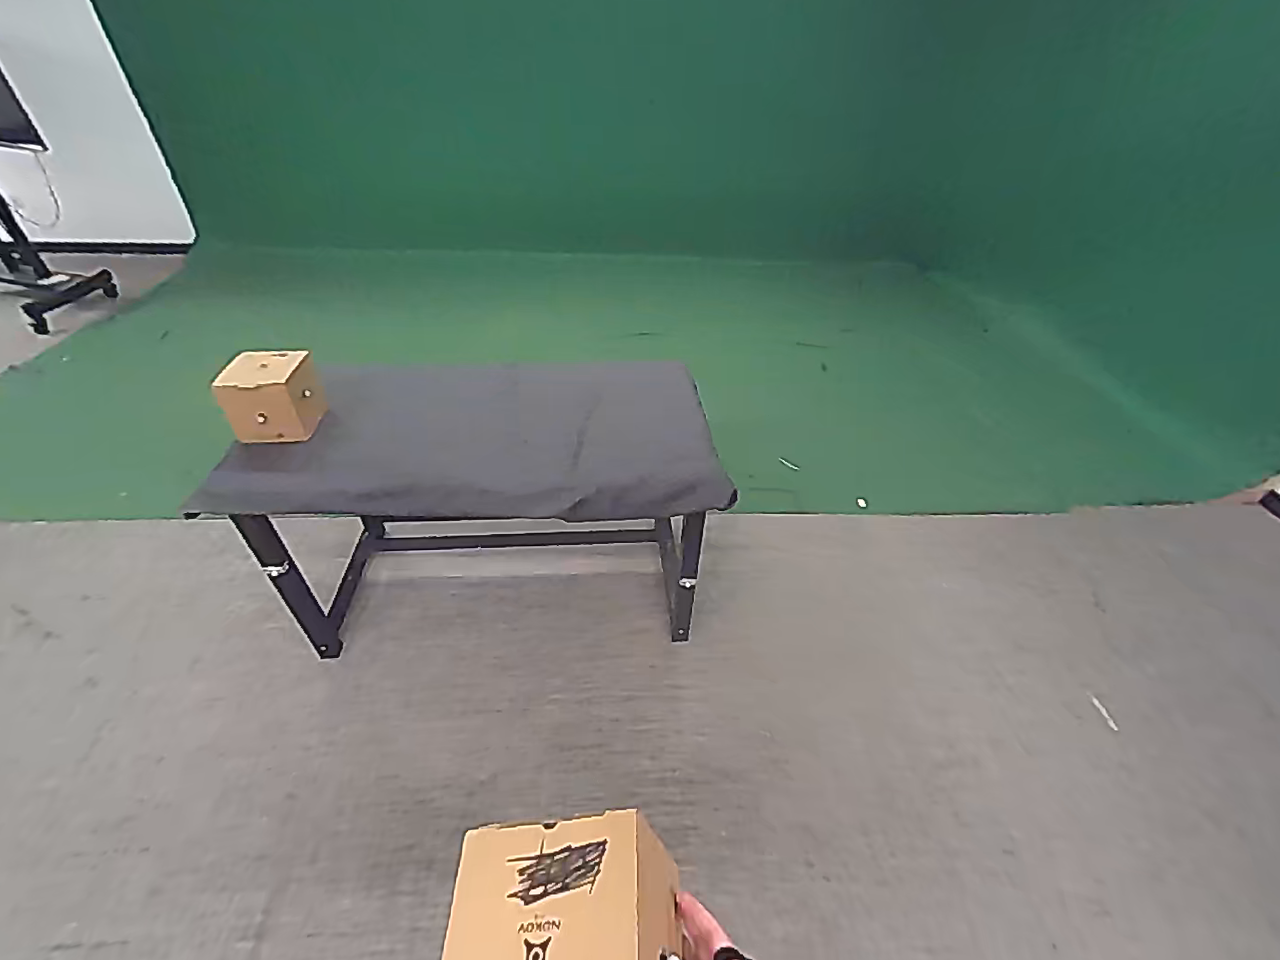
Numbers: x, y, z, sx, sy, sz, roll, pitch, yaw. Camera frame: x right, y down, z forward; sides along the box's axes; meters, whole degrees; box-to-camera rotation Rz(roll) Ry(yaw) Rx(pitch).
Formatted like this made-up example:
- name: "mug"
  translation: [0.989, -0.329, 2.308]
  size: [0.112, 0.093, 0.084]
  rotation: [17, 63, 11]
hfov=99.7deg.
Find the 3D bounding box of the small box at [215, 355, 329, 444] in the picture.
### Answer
- name: "small box"
  translation: [-0.930, -0.204, 1.390]
  size: [0.168, 0.176, 0.179]
  rotation: [-2, 41, -7]
